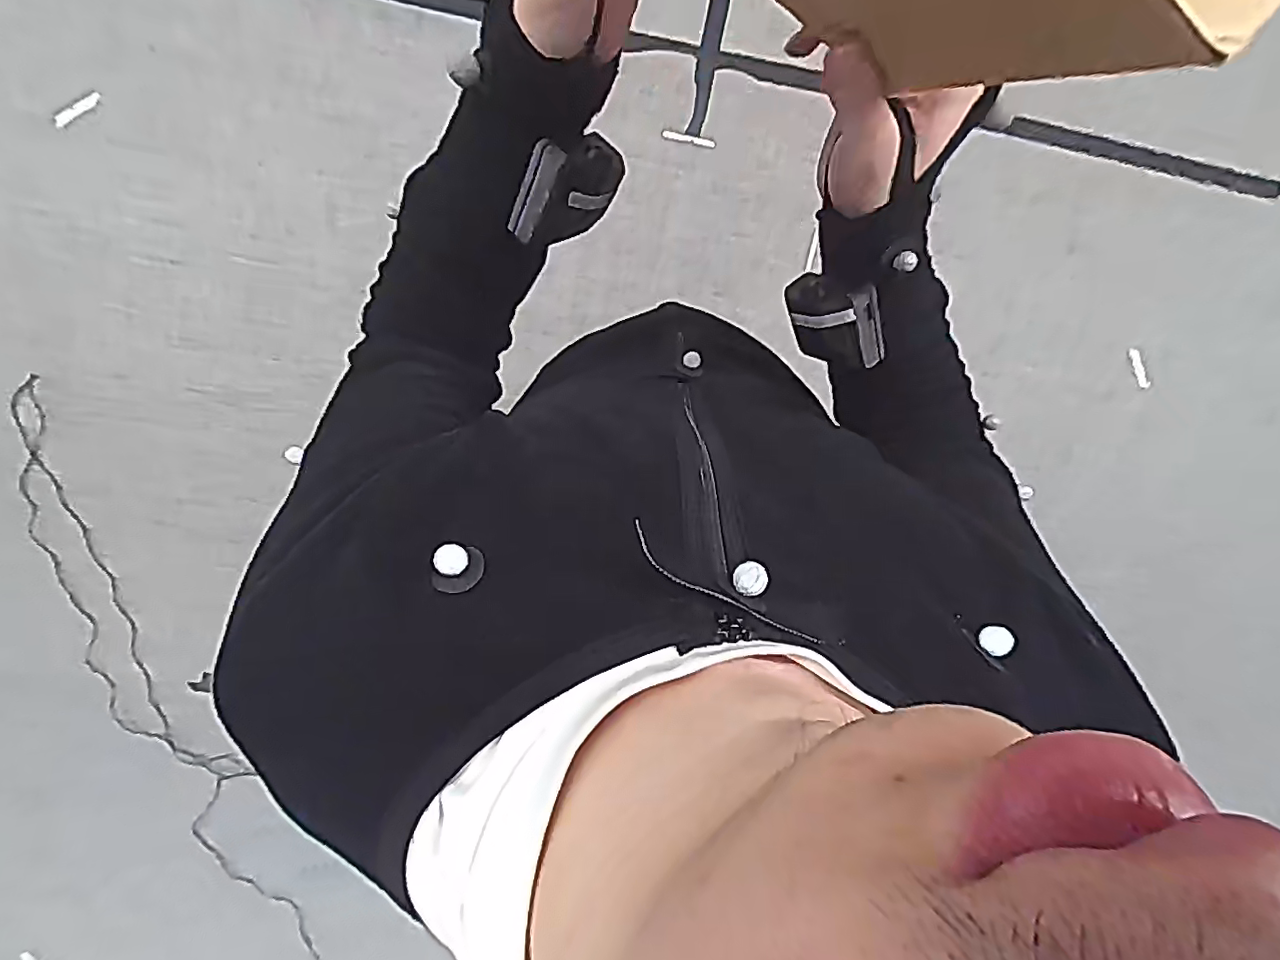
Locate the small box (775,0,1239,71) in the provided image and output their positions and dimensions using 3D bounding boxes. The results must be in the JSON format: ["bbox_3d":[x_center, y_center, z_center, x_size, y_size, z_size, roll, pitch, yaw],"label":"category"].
[{"bbox_3d":[0.091,-0.238,0.135,0.179,0.176,0.168,23,119,-20],"label":"small box"}]
